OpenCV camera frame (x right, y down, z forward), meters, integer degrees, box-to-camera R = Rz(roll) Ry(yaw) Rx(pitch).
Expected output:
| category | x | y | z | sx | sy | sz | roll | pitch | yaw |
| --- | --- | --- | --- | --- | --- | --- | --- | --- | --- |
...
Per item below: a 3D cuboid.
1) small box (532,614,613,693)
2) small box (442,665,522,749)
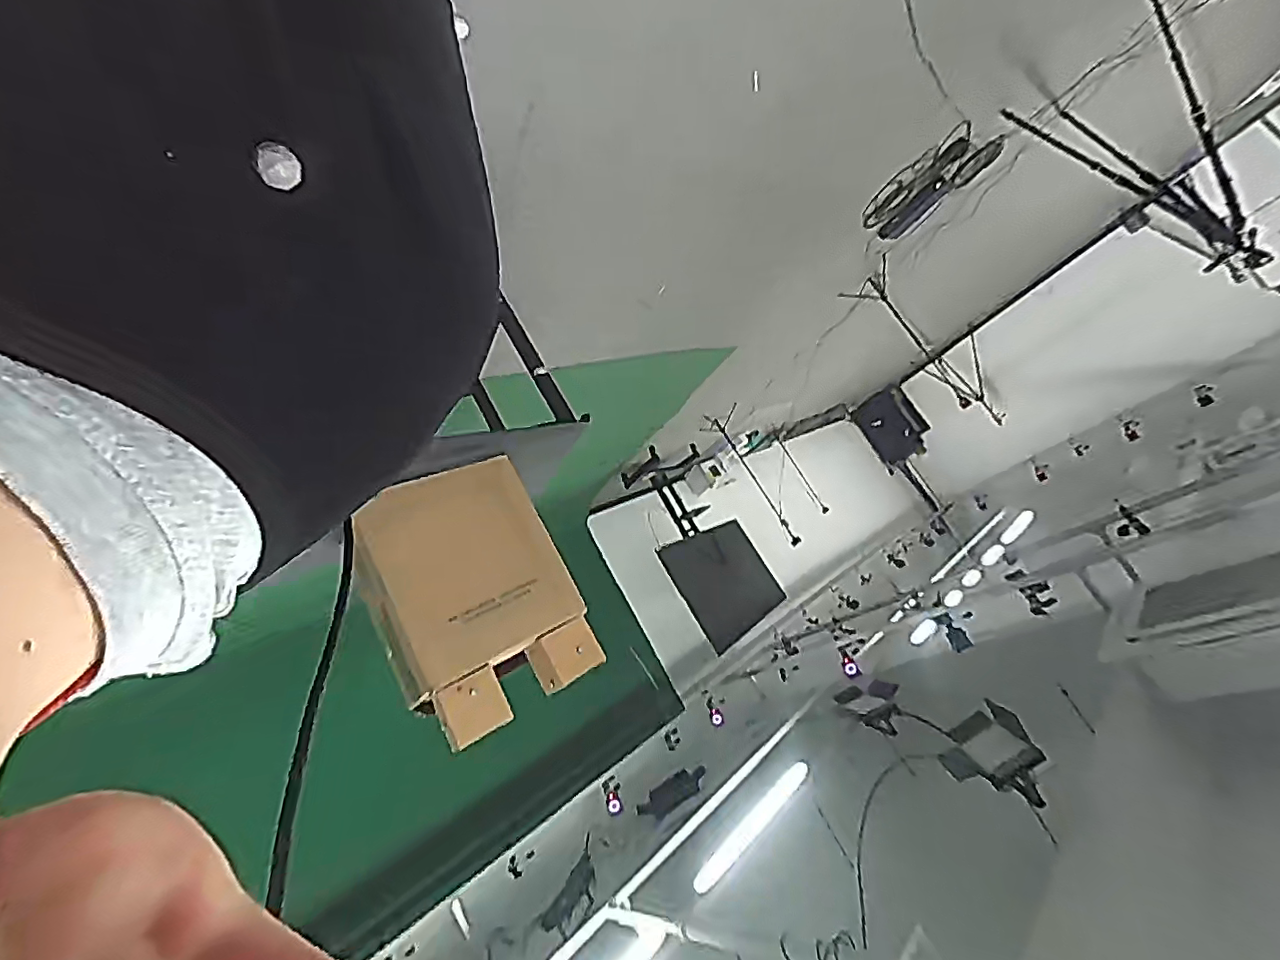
| category | x | y | z | sx | sy | sz | roll | pitch | yaw |
| --- | --- | --- | --- | --- | --- | --- | --- | --- | --- |
| small box | -0.228 | 0.570 | 1.790 | 0.179 | 0.176 | 0.168 | -24 | 164 | -38 |
| small box | -0.473 | 0.669 | 1.599 | 0.168 | 0.176 | 0.179 | -22 | 164 | -32 |
